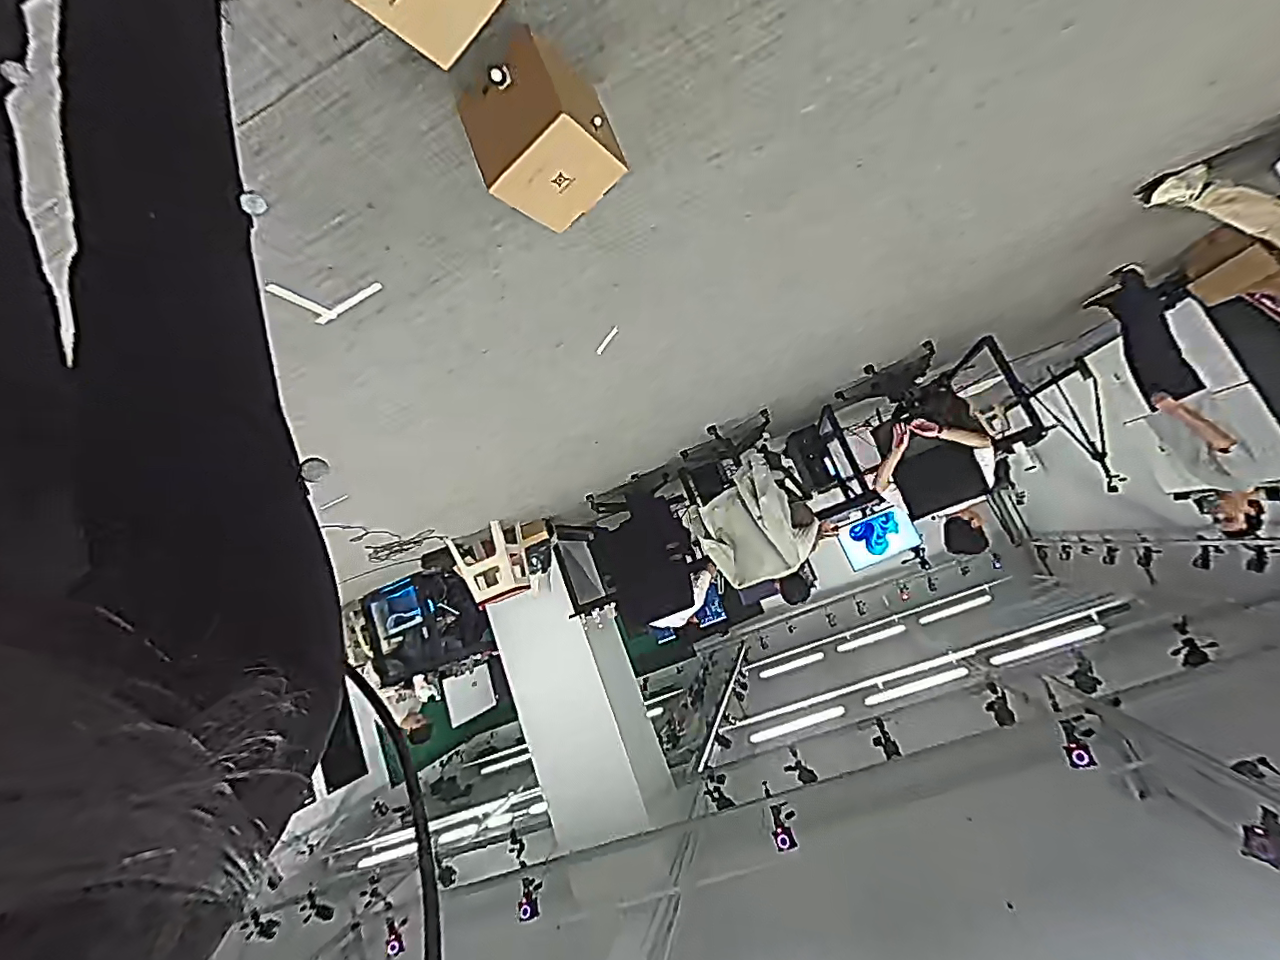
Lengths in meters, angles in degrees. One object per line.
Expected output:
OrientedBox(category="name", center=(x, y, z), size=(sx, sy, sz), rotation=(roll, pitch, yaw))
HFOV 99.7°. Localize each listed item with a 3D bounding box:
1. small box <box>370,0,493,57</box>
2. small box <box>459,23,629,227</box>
OrientedBox(category="small box", center=(-0.226, -0.588, 0.522), size=(0.179, 0.176, 0.168), rotation=(-27, 167, 29))
OrientedBox(category="small box", center=(-0.150, -0.548, 0.852), size=(0.168, 0.176, 0.179), rotation=(-28, 166, 28))
